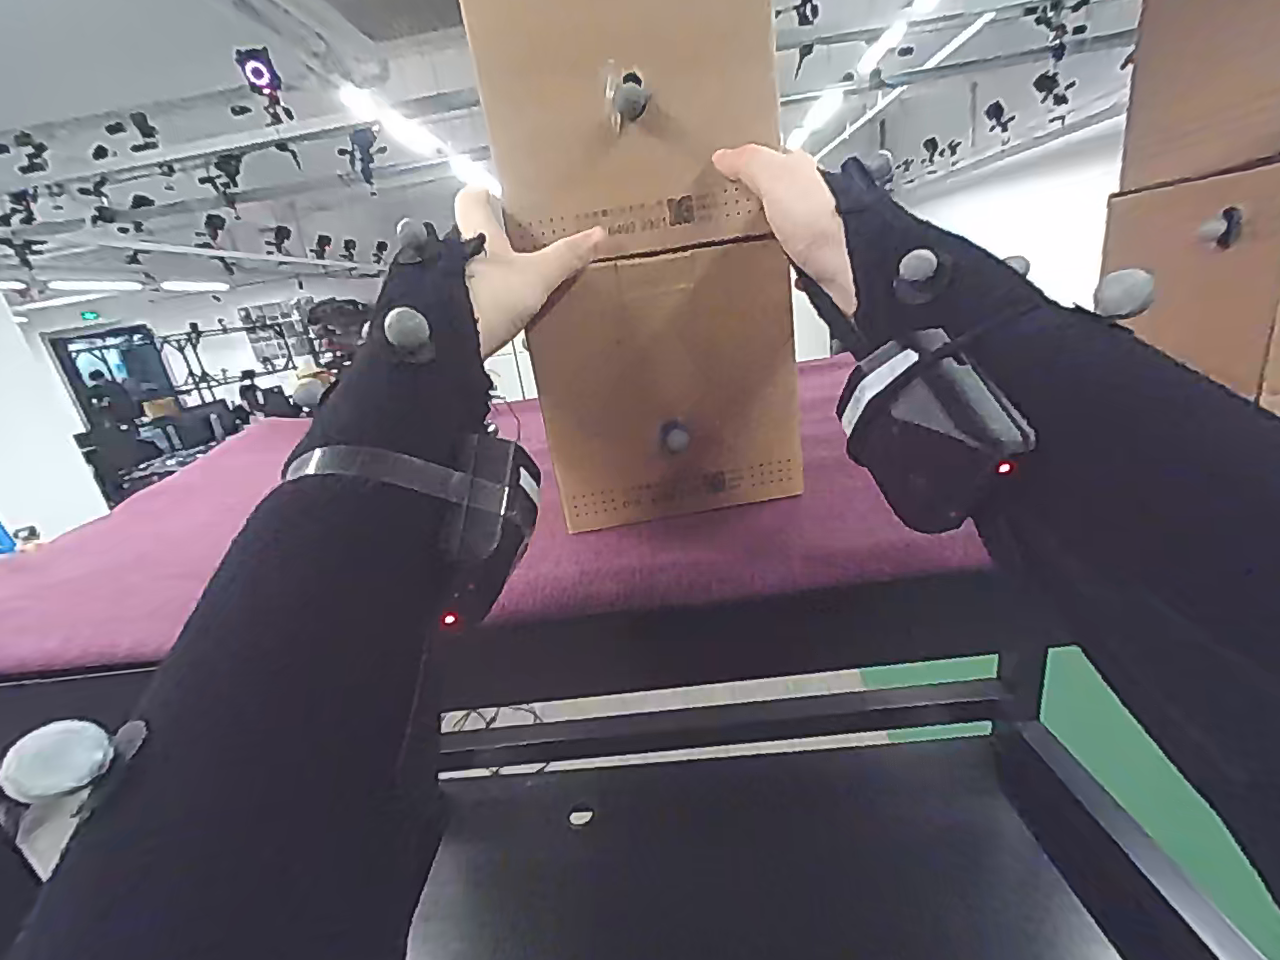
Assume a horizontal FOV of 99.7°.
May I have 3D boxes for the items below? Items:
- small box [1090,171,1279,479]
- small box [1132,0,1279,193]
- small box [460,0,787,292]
[{"bbox_3d":[0.427,-0.108,0.341,0.168,0.176,0.179,-4,21,14],"label":"small box"},{"bbox_3d":[0.403,-0.256,0.280,0.168,0.176,0.179,-4,22,18],"label":"small box"},{"bbox_3d":[-0.002,-0.230,0.373,0.168,0.176,0.179,-8,19,3],"label":"small box"}]
